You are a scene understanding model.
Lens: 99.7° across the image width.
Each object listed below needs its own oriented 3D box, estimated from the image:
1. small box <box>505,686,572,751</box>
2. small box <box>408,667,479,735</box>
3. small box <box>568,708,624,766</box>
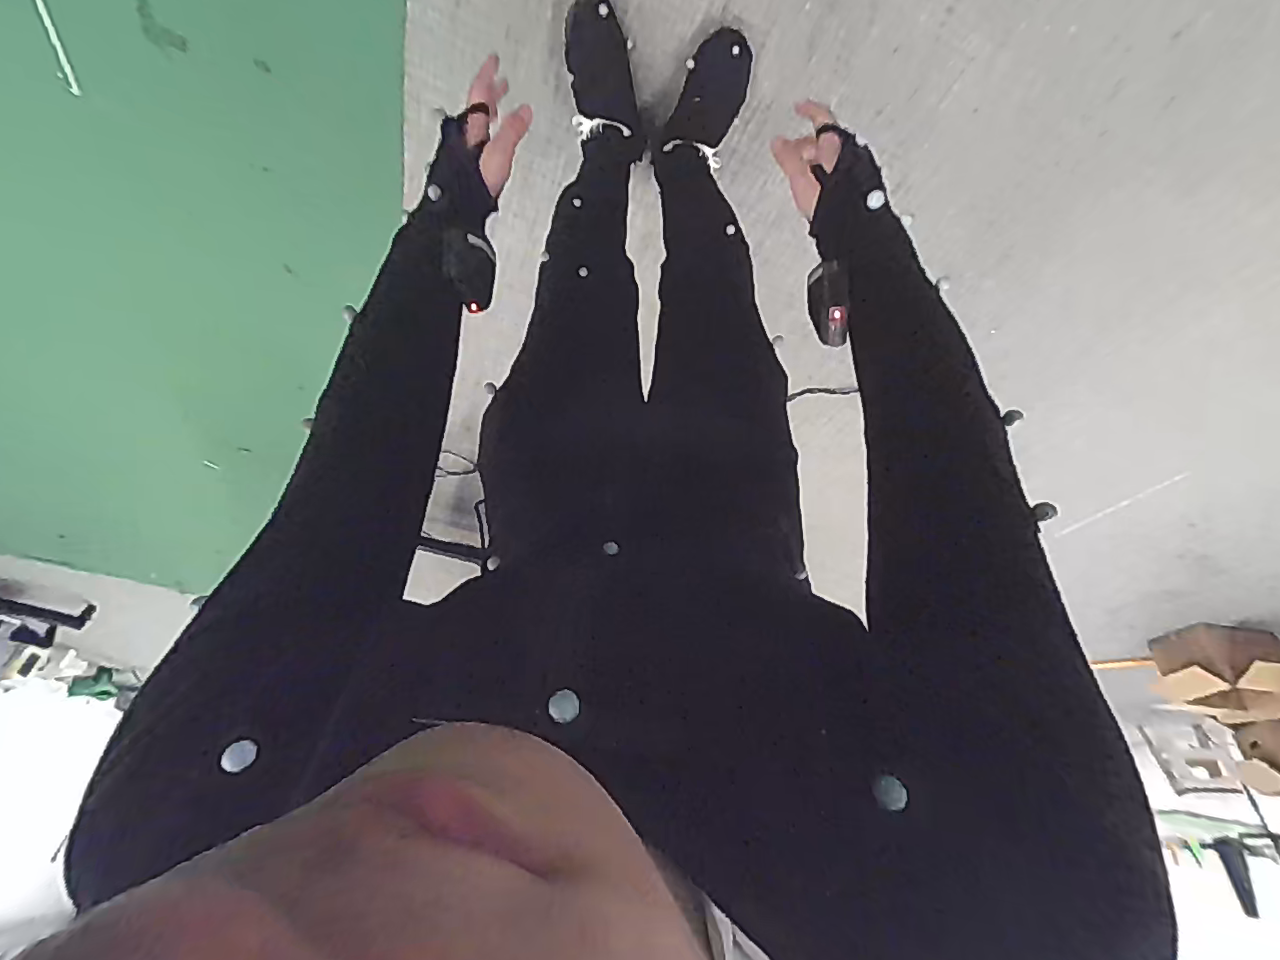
[{"bbox_3d":[-0.353,0.833,1.894,0.179,0.176,0.168,17,143,-16],"label":"small box"},{"bbox_3d":[-0.655,0.734,1.803,0.179,0.176,0.168,17,142,-16],"label":"small box"},{"bbox_3d":[-0.161,0.988,2.080,0.179,0.176,0.168,18,142,-15],"label":"small box"}]
